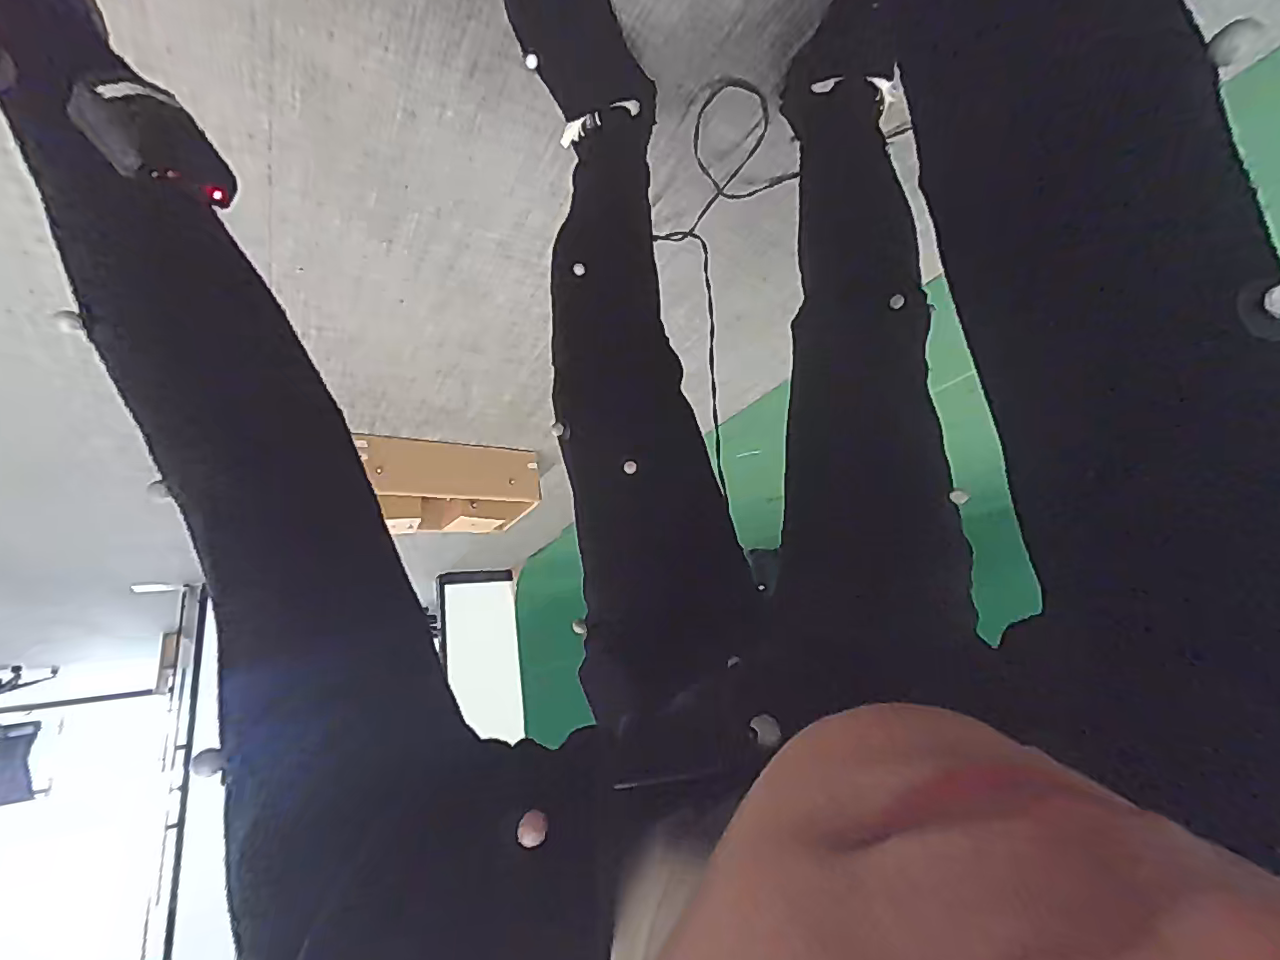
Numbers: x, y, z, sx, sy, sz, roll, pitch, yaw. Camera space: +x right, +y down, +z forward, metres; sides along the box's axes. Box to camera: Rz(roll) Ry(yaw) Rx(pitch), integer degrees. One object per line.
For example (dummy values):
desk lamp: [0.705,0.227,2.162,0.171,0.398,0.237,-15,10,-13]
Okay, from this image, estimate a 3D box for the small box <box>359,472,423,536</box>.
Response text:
small box: [-0.822,0.079,1.783,0.179,0.176,0.168,2,157,-30]
